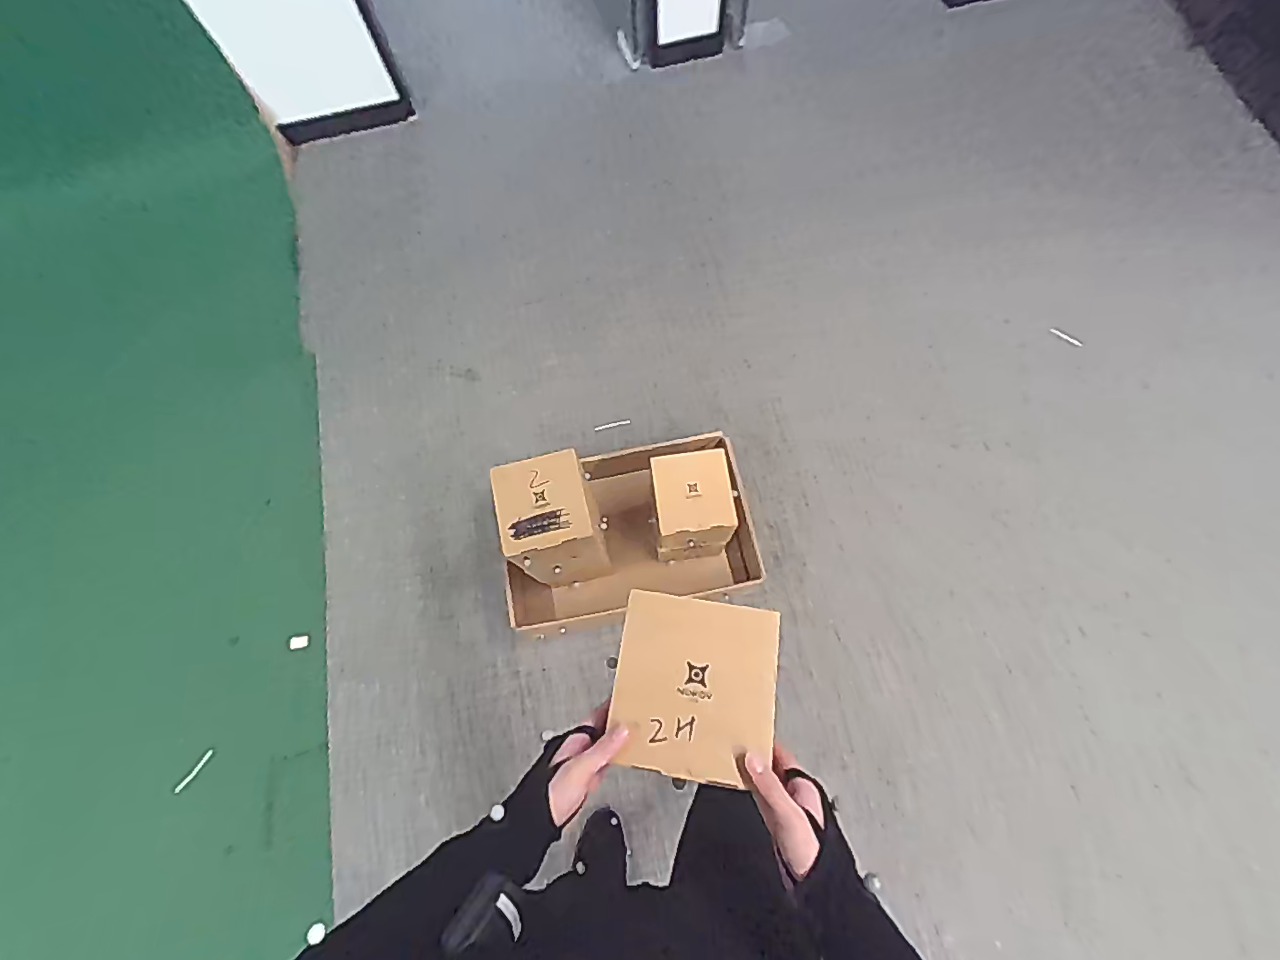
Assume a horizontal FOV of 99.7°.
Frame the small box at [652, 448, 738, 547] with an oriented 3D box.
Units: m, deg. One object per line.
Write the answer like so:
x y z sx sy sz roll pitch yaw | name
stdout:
0.116 0.044 1.228 0.168 0.176 0.179 -7 73 -1 | small box

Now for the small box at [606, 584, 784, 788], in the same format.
0.063 0.238 0.628 0.168 0.176 0.179 8 65 7 | small box

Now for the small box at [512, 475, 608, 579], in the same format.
-0.175 0.111 1.215 0.168 0.176 0.179 -14 71 0 | small box
